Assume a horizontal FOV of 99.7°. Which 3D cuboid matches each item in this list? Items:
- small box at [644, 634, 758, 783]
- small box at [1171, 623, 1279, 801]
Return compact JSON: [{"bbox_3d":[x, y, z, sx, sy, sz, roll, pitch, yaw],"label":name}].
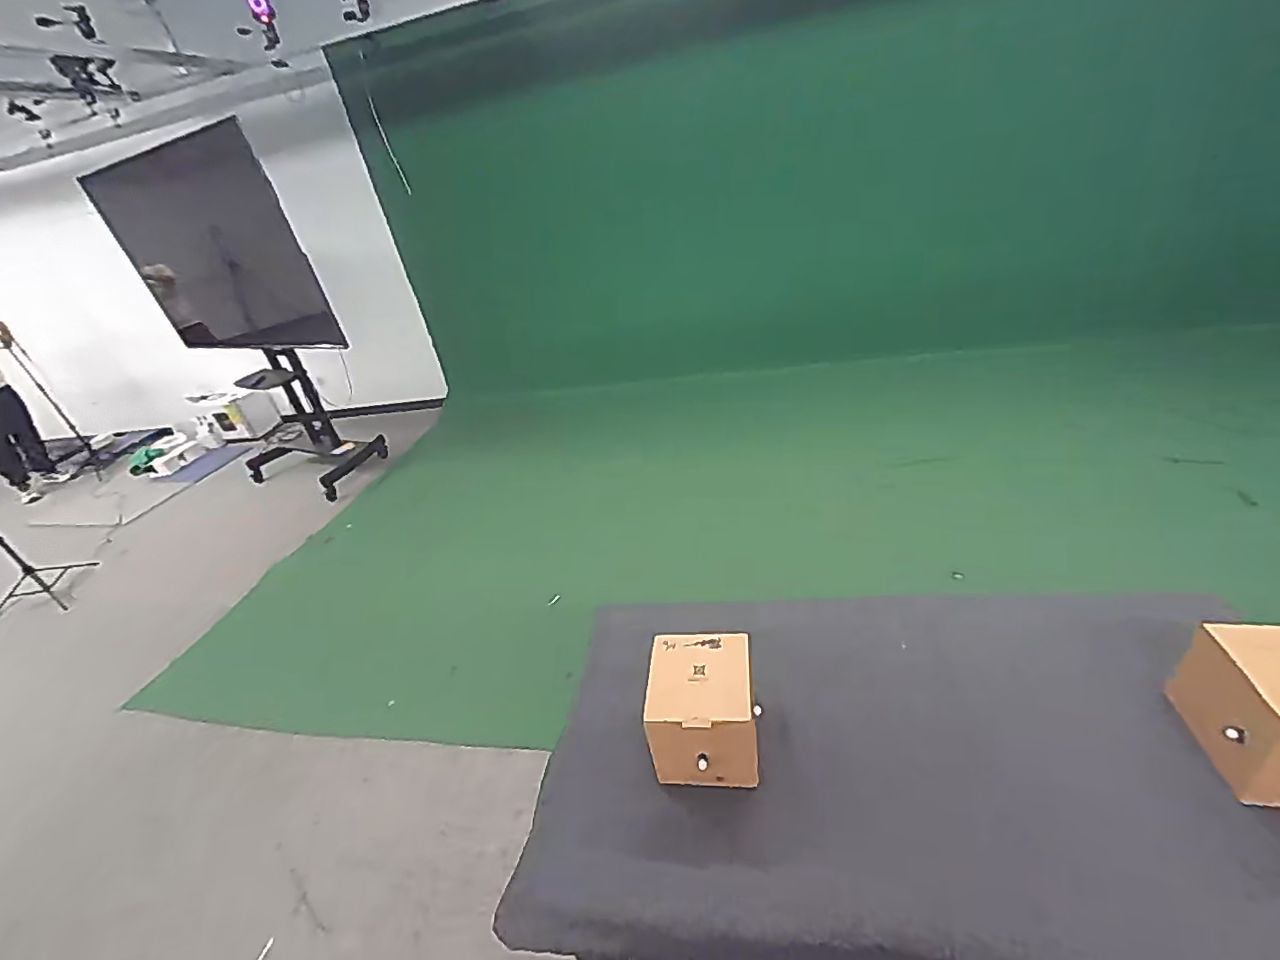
[{"bbox_3d":[0.110,0.385,0.915,0.168,0.176,0.179,-4,31,12],"label":"small box"},{"bbox_3d":[0.896,0.322,0.741,0.168,0.176,0.179,-2,31,15],"label":"small box"}]
